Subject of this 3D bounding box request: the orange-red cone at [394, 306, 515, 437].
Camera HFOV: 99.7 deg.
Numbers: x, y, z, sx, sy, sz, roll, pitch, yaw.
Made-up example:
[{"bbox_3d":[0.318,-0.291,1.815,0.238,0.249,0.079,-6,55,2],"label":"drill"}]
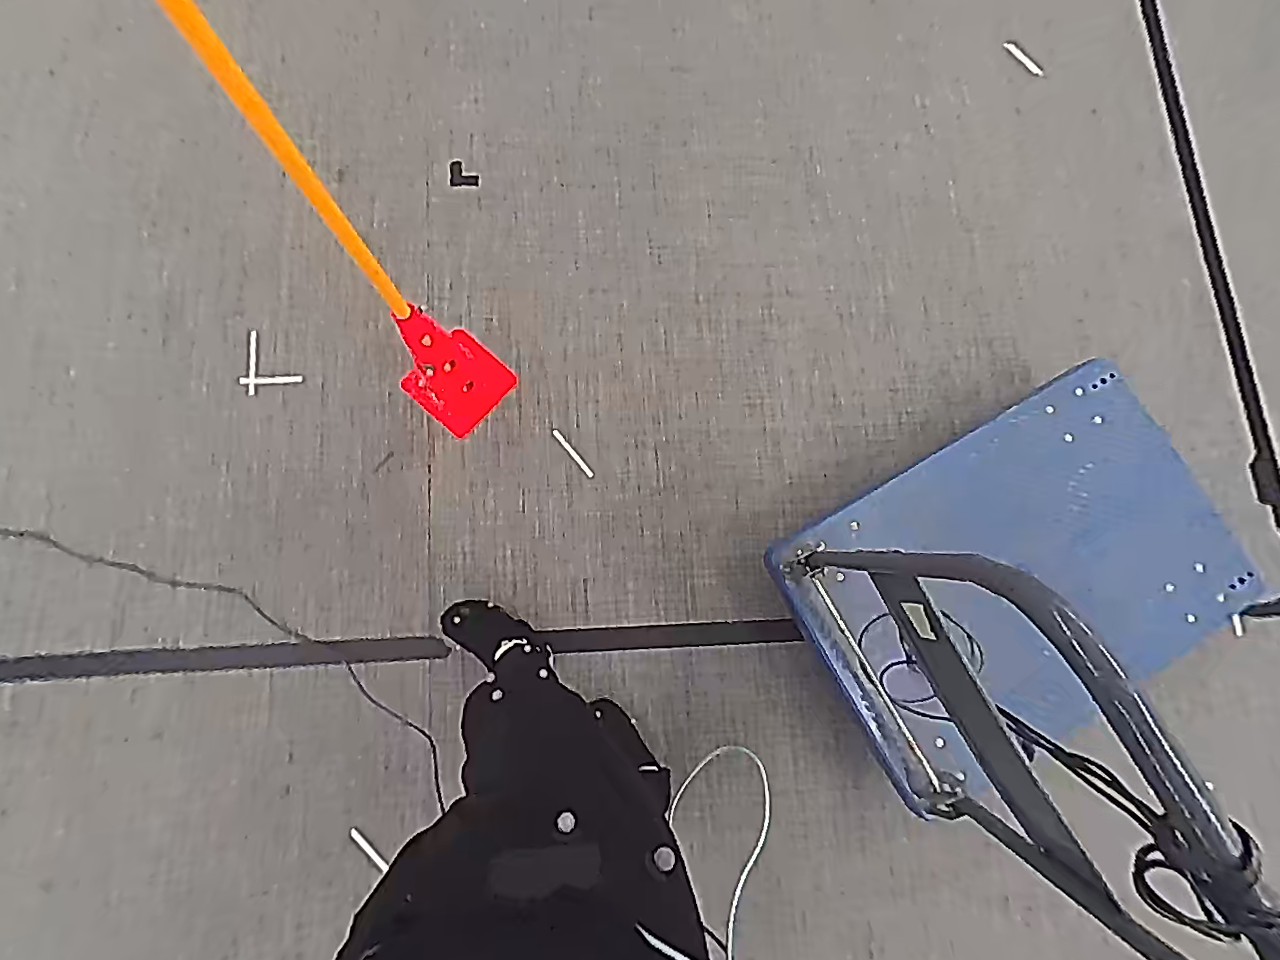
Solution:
[{"bbox_3d":[-0.399,-0.246,1.066,0.199,0.360,0.198,42,81,2],"label":"orange-red cone"}]
